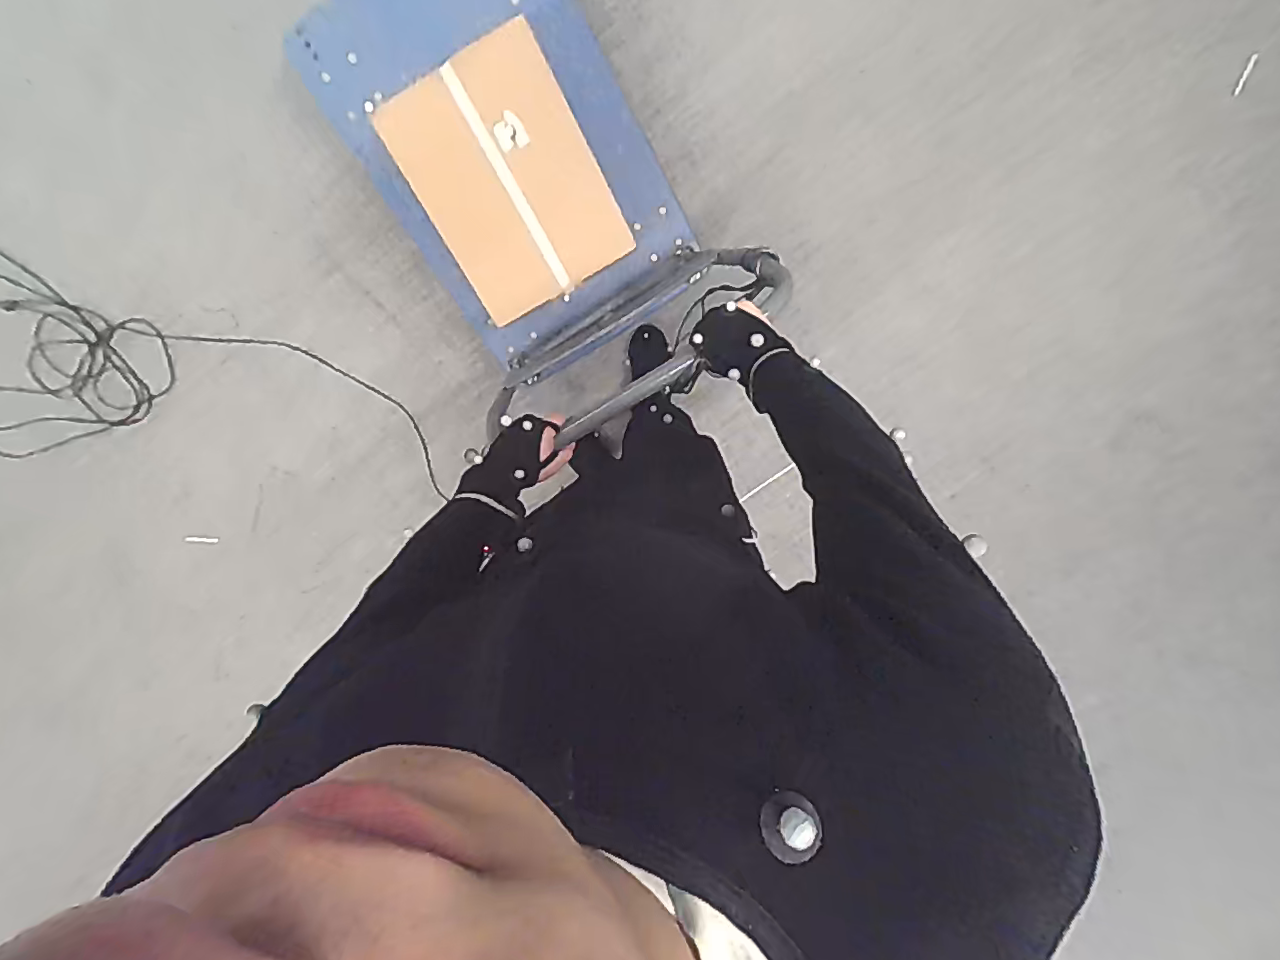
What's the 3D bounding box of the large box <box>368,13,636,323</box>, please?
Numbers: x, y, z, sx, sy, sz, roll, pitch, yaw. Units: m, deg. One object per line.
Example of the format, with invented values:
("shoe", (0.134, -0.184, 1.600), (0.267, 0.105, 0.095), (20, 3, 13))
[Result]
("large box", (-0.241, -0.579, 1.095), (0.320, 0.320, 0.408), (-28, 110, 5))
